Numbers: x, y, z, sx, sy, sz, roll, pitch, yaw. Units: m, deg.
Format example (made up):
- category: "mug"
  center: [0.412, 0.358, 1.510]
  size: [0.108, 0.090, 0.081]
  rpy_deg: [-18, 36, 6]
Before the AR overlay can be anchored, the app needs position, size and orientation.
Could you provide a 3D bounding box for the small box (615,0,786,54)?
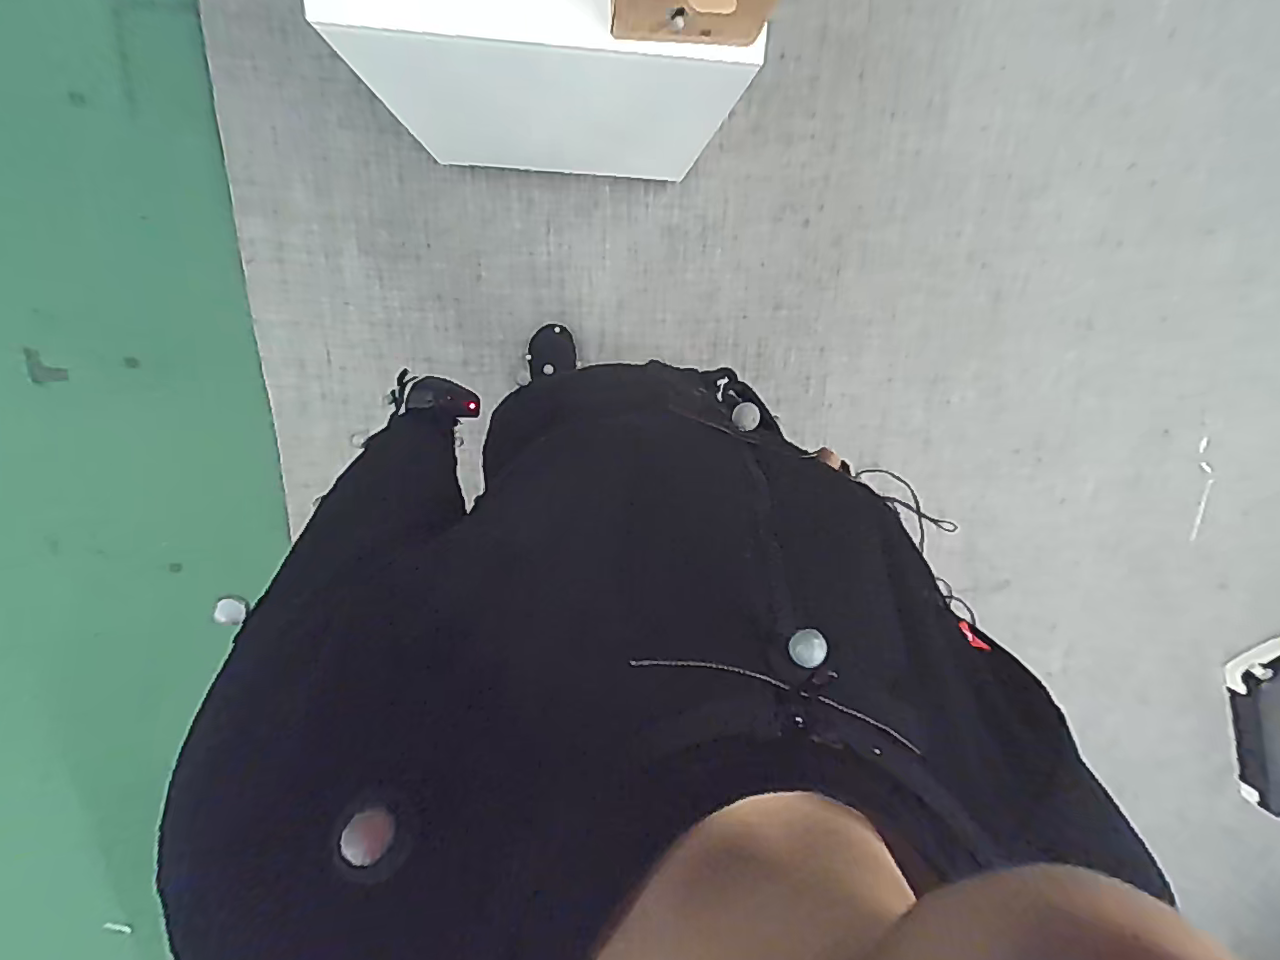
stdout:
- category: "small box"
  center: [0.062, -0.555, 0.517]
  size: [0.168, 0.176, 0.179]
  rpy_deg: [-1, 106, -6]
